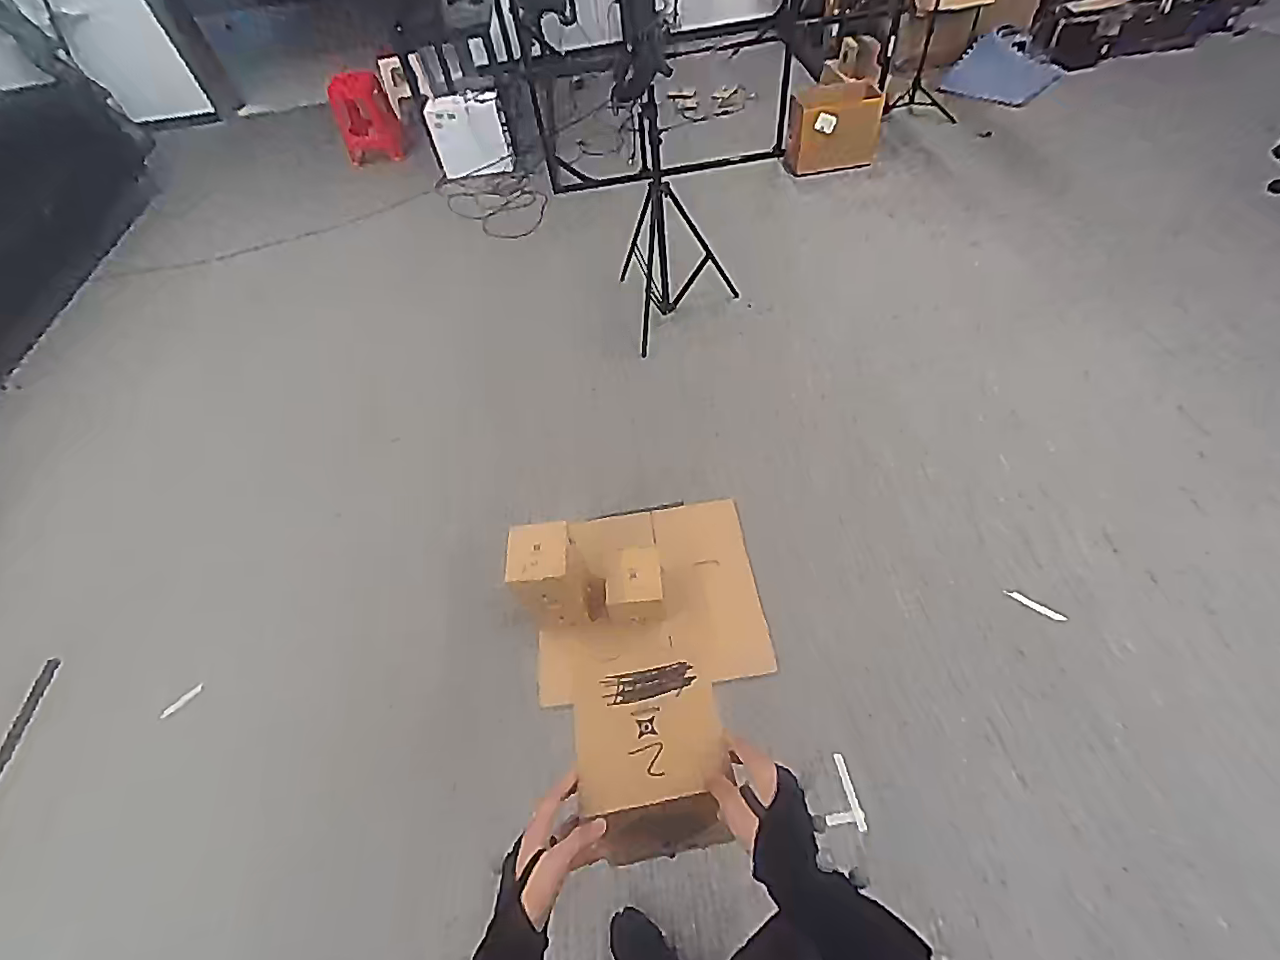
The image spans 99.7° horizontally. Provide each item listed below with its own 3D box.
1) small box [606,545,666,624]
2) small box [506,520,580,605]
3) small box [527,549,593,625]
[{"bbox_3d":[-0.010,0.319,1.641,0.168,0.176,0.179,-6,53,3],"label":"small box"},{"bbox_3d":[-0.268,0.235,1.530,0.168,0.176,0.179,-7,54,3],"label":"small box"},{"bbox_3d":[-0.240,0.336,1.658,0.168,0.176,0.179,-7,54,3],"label":"small box"}]
